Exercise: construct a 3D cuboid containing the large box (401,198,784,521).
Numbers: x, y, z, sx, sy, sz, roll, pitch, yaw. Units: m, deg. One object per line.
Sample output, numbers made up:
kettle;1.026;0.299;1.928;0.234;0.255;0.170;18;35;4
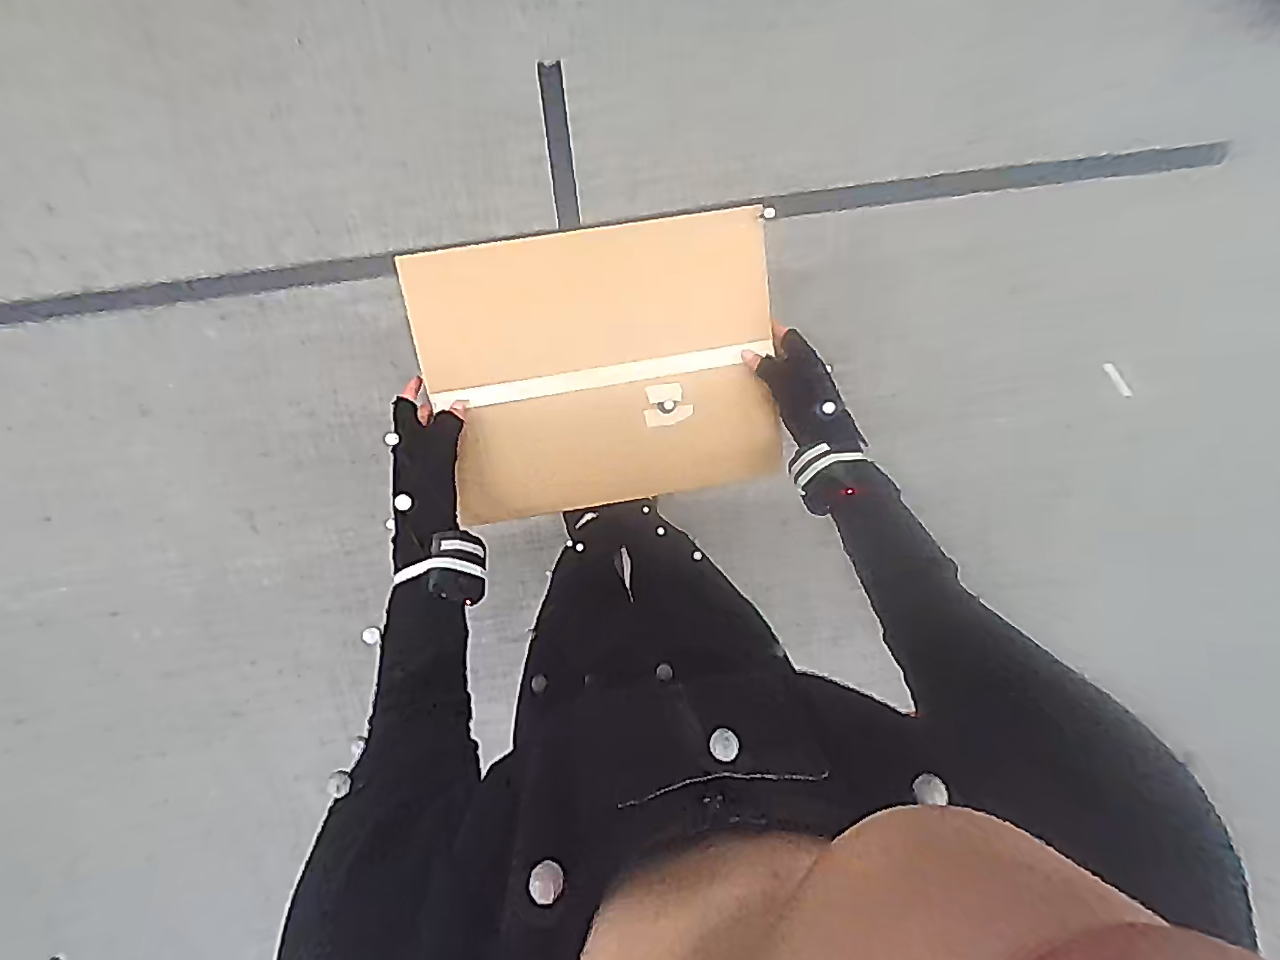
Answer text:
large box;-0.055;-0.165;0.766;0.408;0.320;0.320;-10;106;-4
